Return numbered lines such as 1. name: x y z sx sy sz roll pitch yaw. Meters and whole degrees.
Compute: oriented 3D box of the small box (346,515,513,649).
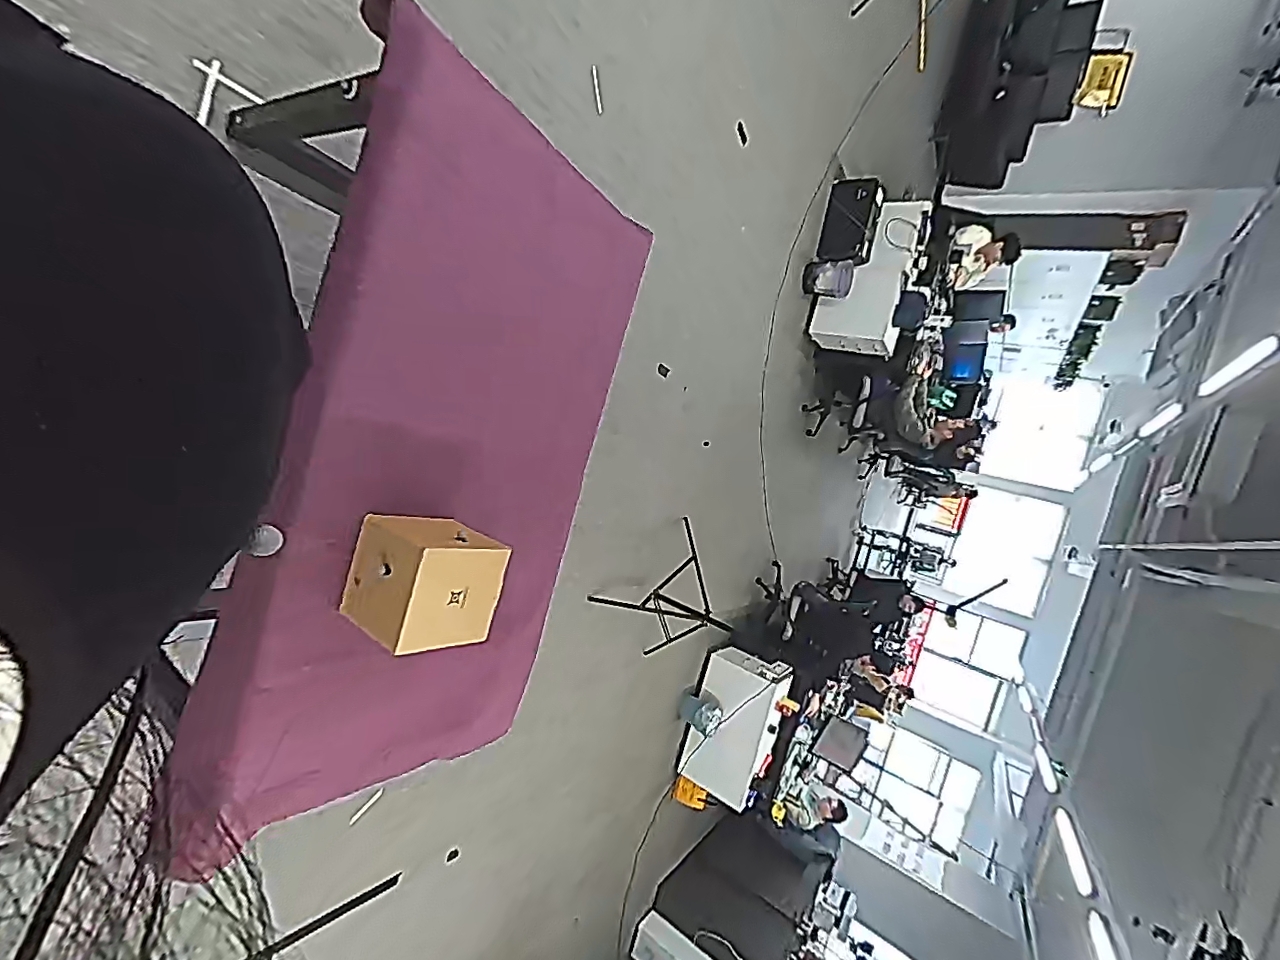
1. small box: -0.348 0.160 0.894 0.179 0.176 0.168 13 94 -58
